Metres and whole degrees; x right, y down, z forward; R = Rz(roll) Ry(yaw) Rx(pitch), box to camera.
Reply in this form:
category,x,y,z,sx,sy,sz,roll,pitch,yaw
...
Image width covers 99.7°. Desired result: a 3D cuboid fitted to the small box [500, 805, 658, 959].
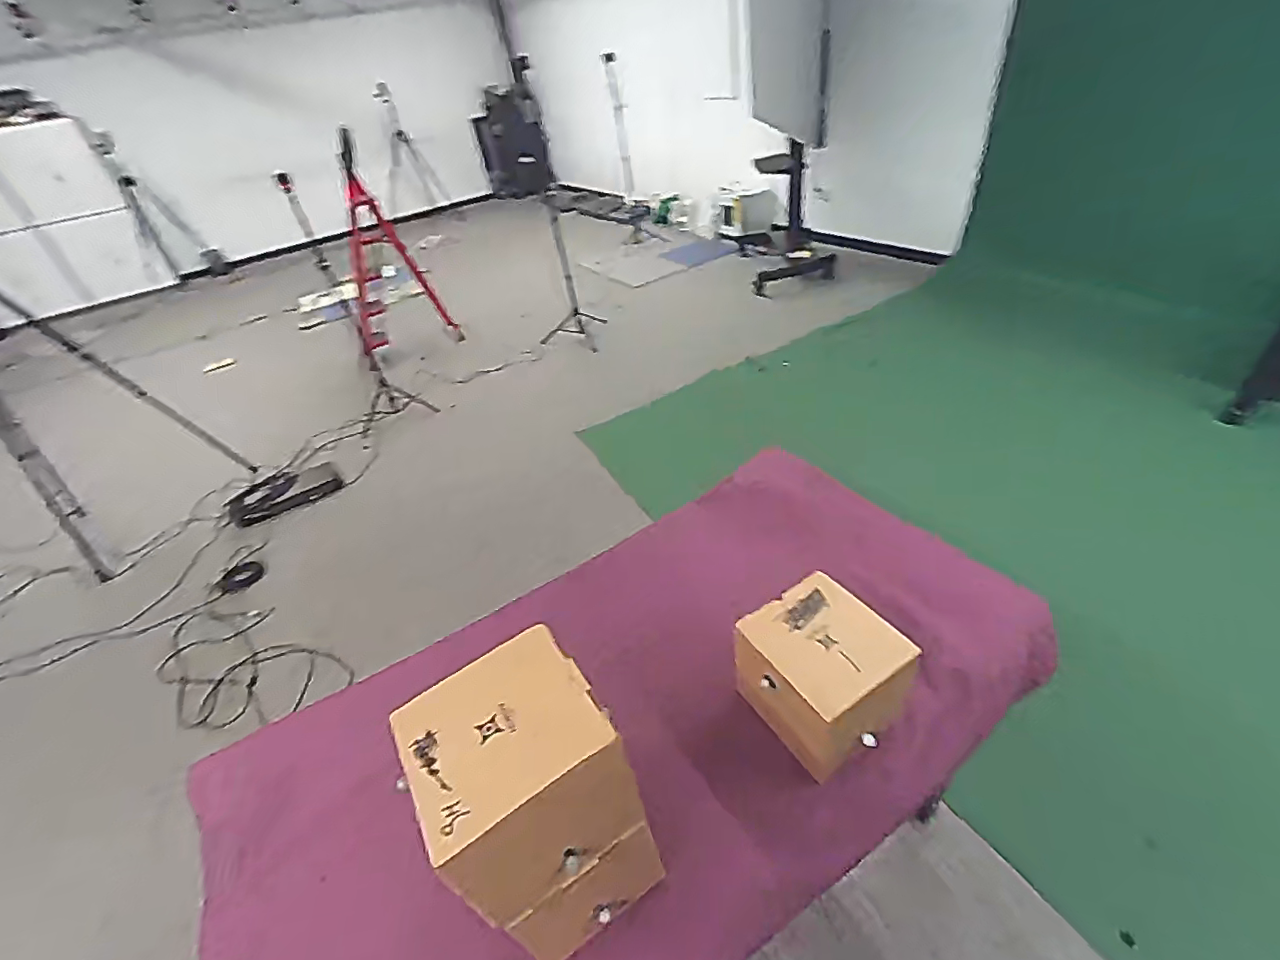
category,x,y,z,sx,sy,sz,roll,pitch,yaw
small box,-0.097,0.422,0.647,0.168,0.176,0.179,-28,39,-20

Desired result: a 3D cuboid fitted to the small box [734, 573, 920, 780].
category,x,y,z,sx,sy,sz,roll,pitch,yaw
small box,0.251,0.272,0.758,0.168,0.176,0.179,-27,40,-19

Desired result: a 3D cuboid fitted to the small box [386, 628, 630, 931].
category,x,y,z,sx,sy,sz,roll,pitch,yaw
small box,-0.123,0.294,0.547,0.179,0.176,0.168,-27,38,-21
